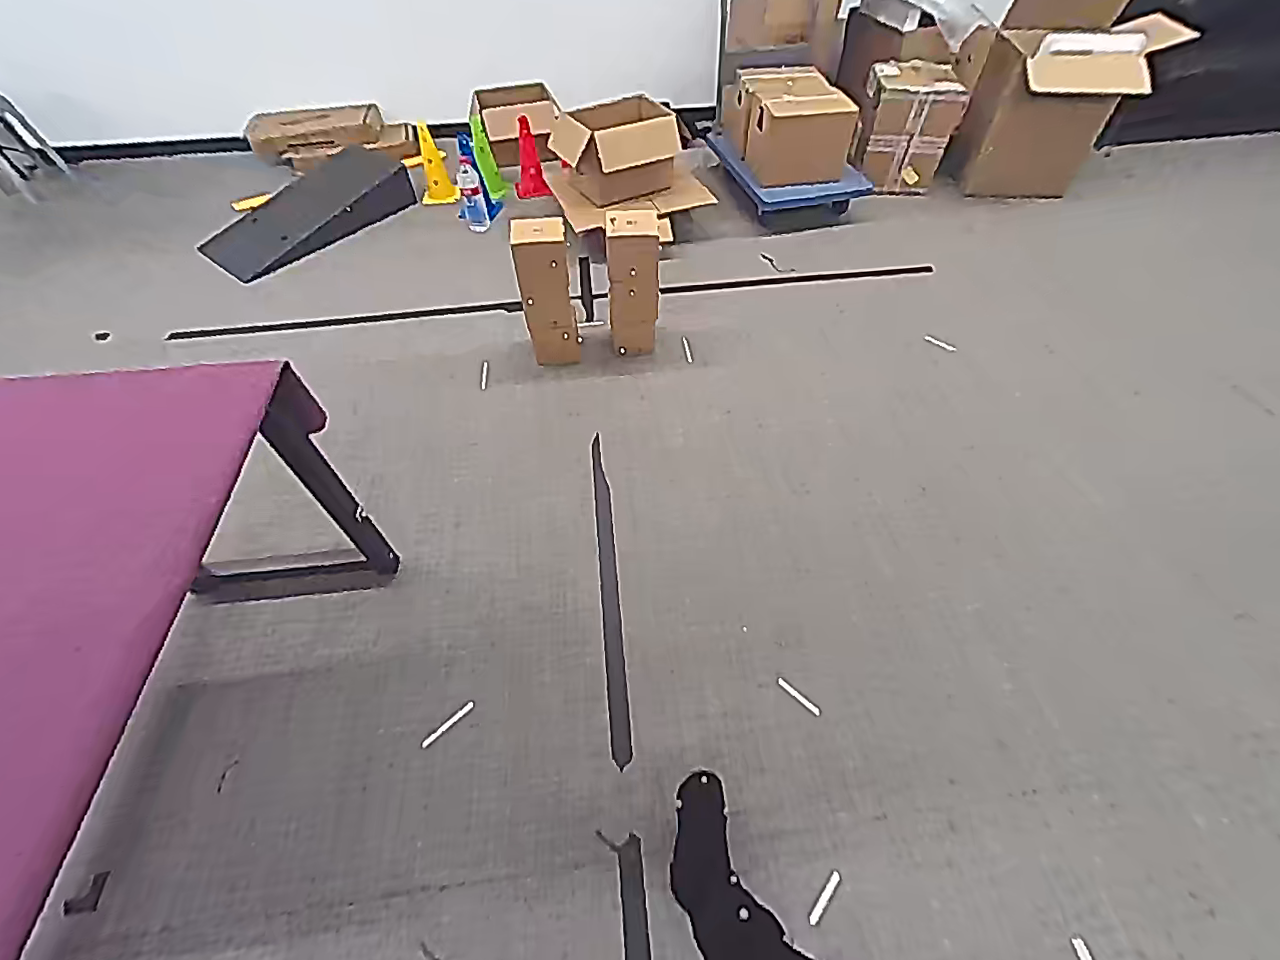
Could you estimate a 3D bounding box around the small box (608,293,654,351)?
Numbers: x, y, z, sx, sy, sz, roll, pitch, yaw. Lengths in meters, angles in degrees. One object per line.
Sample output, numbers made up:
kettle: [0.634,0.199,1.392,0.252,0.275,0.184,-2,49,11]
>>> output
small box: [-0.034,-0.624,2.128,0.168,0.176,0.179,-6,52,-5]

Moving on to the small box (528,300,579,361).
small box: [-0.332,-0.576,2.095,0.179,0.176,0.168,-5,52,-4]

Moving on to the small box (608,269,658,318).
small box: [-0.027,-0.711,1.987,0.179,0.176,0.168,-4,53,-3]

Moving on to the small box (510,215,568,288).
small box: [-0.338,-0.773,1.834,0.179,0.176,0.168,-7,51,-4]

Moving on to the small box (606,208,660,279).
small box: [-0.028,-0.807,1.854,0.179,0.176,0.168,-1,53,-2]
